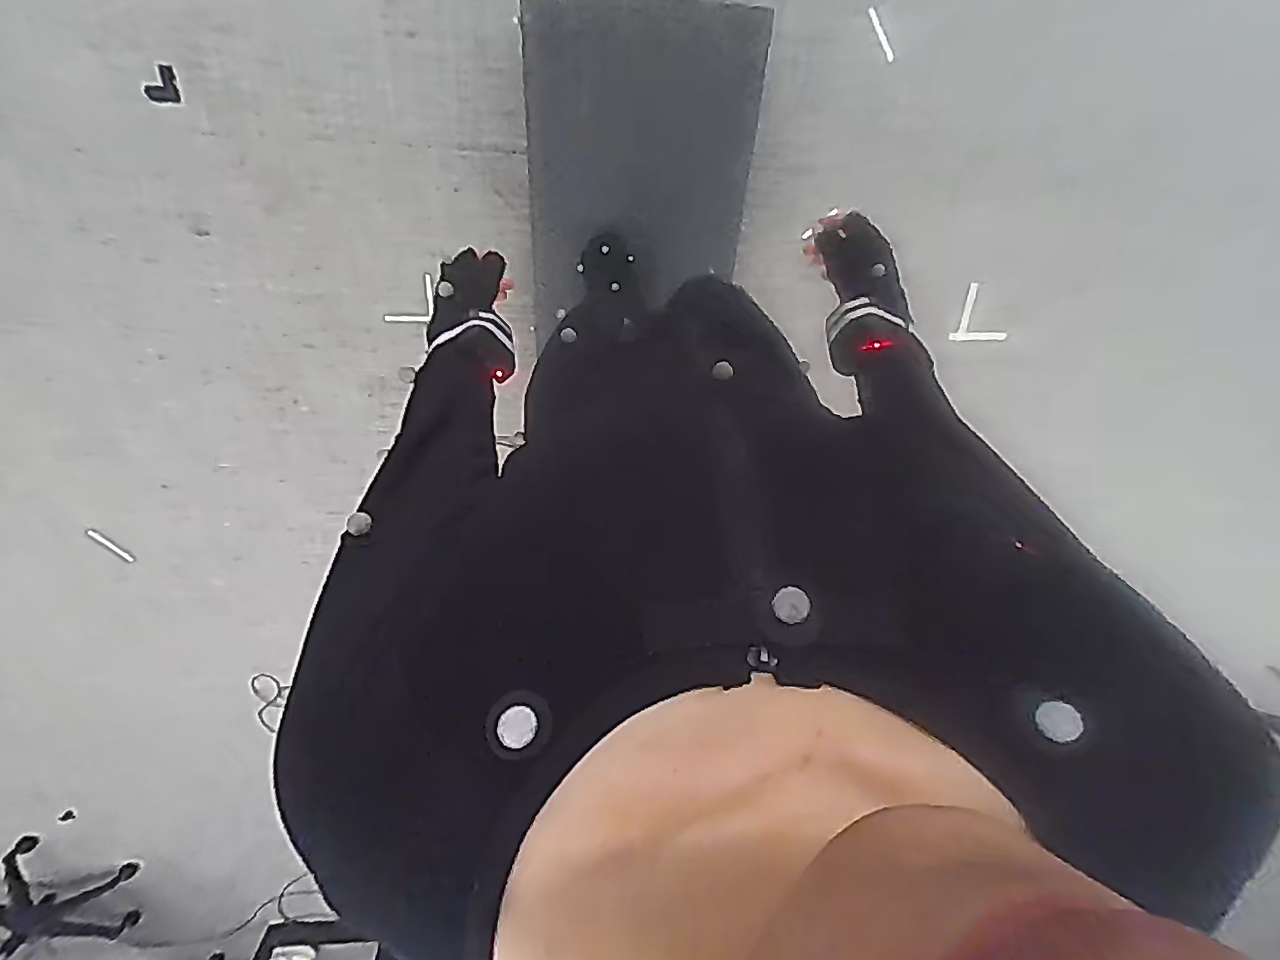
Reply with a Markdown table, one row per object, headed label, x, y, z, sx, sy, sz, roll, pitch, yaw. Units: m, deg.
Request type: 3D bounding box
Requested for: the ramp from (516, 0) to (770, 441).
| label | x | y | z | sx | sy | sz | roll | pitch | yaw |
| --- | --- | --- | --- | --- | --- | --- | --- | --- | --- |
| ramp | -0.015 | -0.521 | 1.310 | 0.509 | 0.206 | 0.991 | -2 | 116 | -5 |
